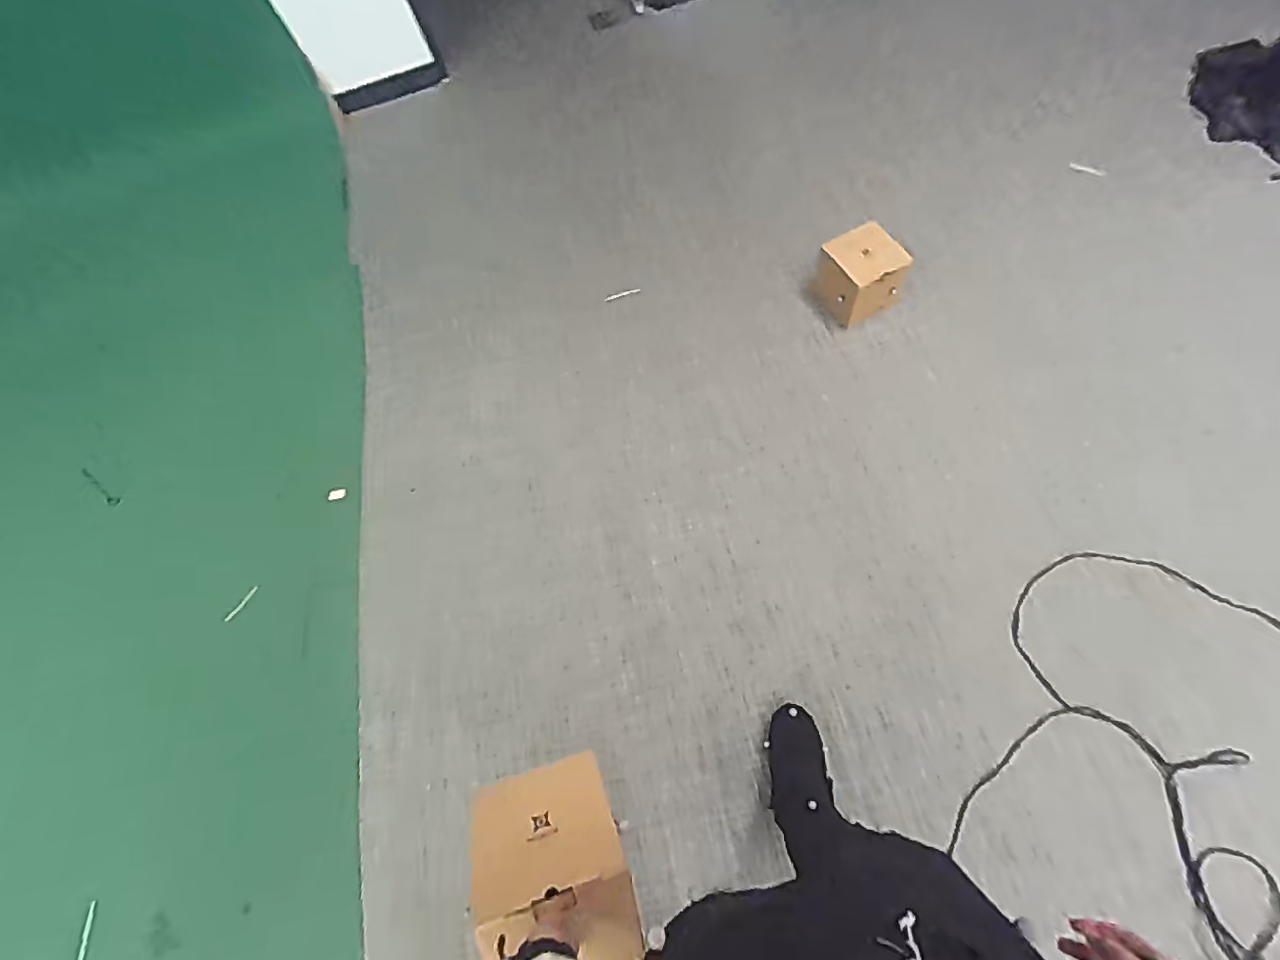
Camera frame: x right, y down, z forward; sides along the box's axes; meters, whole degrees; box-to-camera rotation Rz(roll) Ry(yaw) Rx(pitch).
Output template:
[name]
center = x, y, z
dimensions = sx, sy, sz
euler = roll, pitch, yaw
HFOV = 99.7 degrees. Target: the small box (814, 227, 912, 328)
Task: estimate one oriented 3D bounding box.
[small box]
center = 0.600, -0.542, 1.479
dimensions = 0.168, 0.176, 0.179
euler = -27, 64, -4
